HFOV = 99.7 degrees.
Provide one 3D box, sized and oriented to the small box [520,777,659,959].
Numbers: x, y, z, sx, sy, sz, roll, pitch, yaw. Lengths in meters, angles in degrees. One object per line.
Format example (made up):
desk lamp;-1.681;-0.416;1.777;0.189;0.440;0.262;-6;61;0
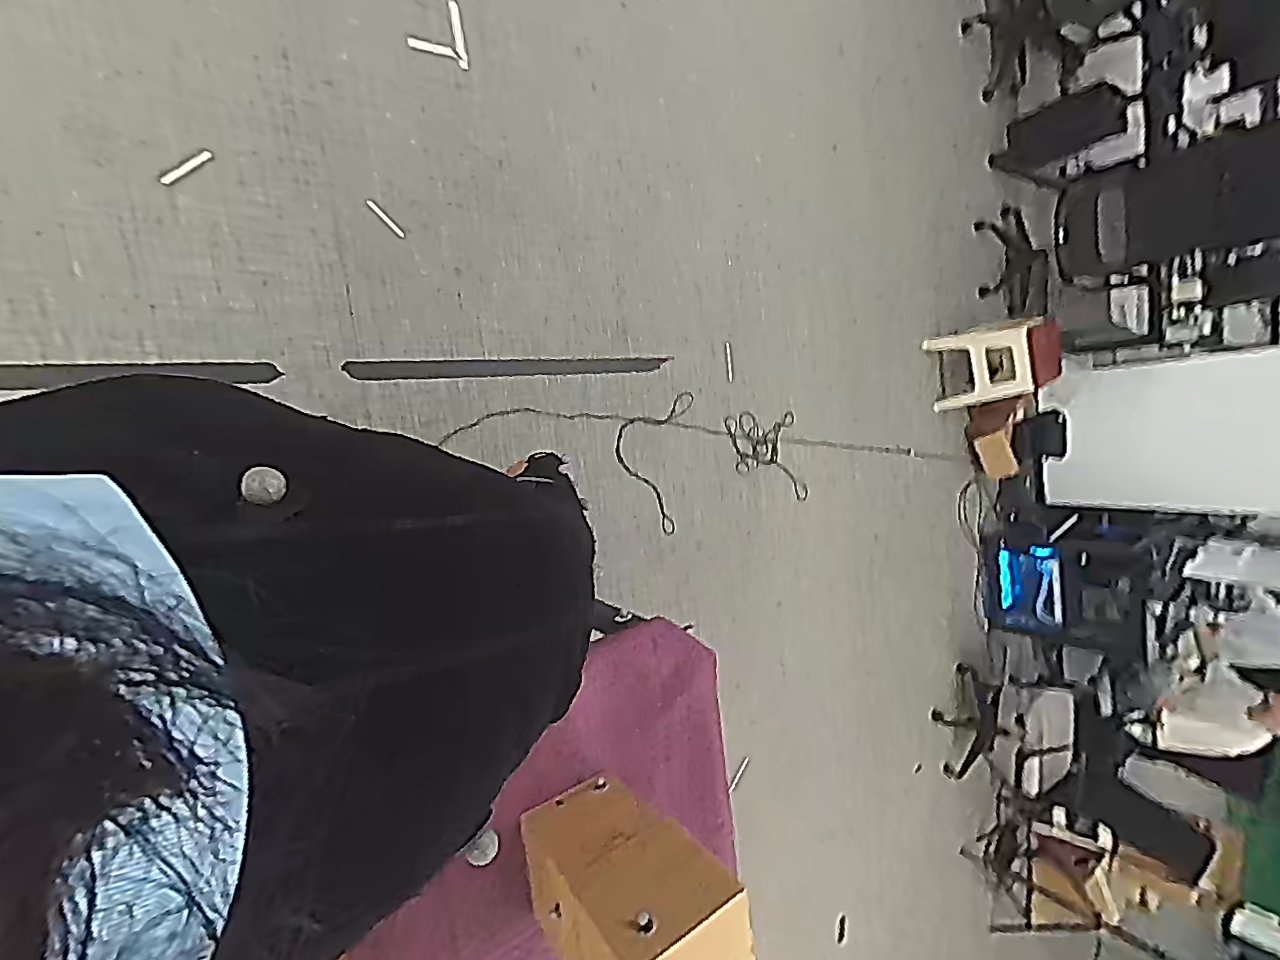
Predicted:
small box;-0.073;0.593;0.833;0.168;0.176;0.179;-10;97;-33

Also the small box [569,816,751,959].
small box;0.020;0.586;0.697;0.179;0.176;0.168;-11;97;-33
